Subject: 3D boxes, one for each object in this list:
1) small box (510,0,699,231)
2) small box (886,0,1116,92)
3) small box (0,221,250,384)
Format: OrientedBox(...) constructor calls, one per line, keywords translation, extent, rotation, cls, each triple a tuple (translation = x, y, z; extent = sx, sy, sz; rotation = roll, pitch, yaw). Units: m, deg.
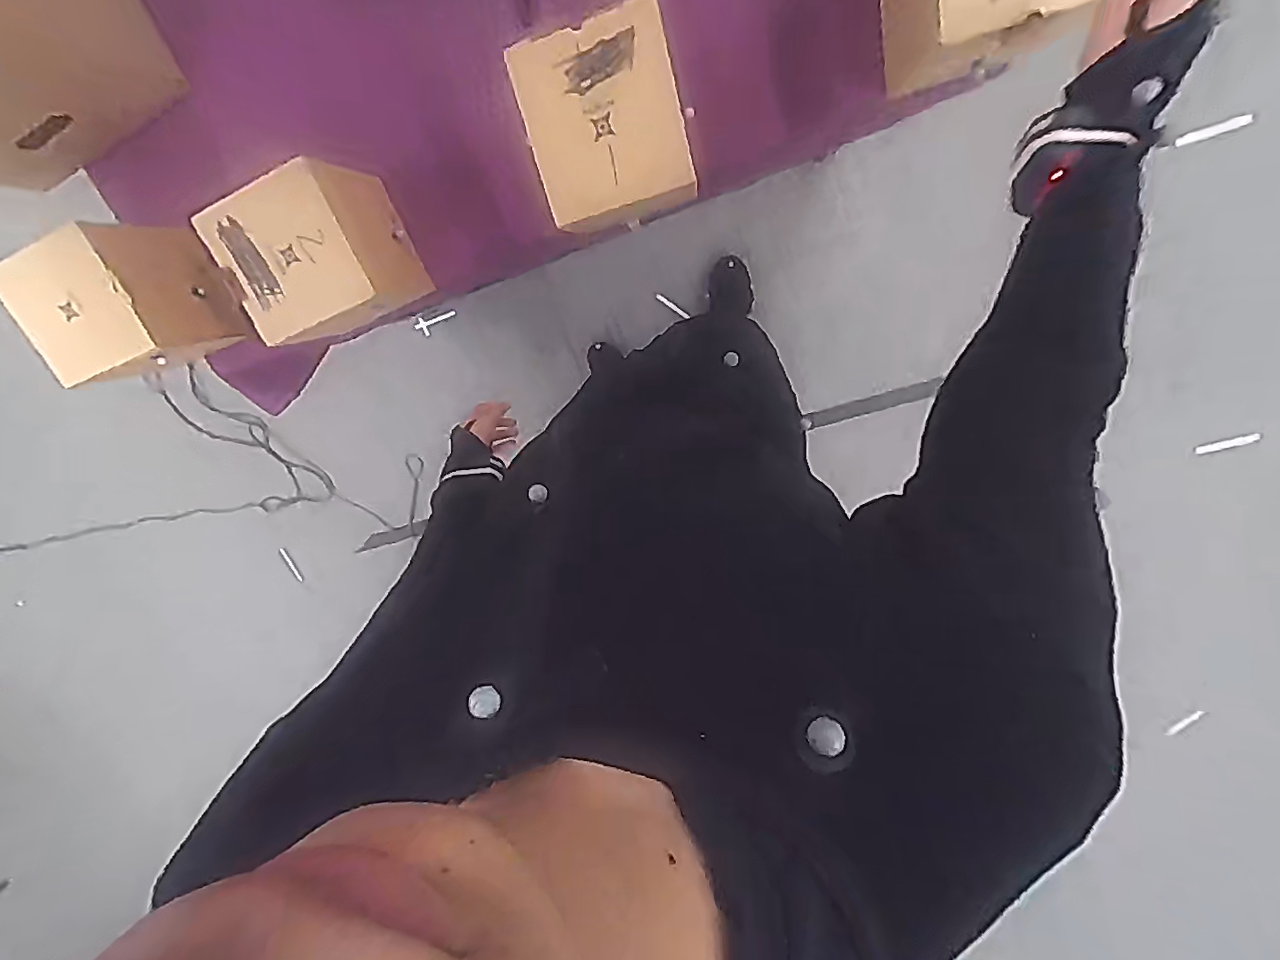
OrientedBox(translation=(-0.028, -0.414, 0.644), extent=(0.168, 0.176, 0.179), rotation=(-13, 111, 12), cls="small box")
OrientedBox(translation=(0.357, -0.536, 0.548), extent=(0.168, 0.176, 0.179), rotation=(-10, 110, 11), cls="small box")
OrientedBox(translation=(-0.734, -0.256, 0.788), extent=(0.179, 0.176, 0.168), rotation=(-17, 109, 11), cls="small box")
